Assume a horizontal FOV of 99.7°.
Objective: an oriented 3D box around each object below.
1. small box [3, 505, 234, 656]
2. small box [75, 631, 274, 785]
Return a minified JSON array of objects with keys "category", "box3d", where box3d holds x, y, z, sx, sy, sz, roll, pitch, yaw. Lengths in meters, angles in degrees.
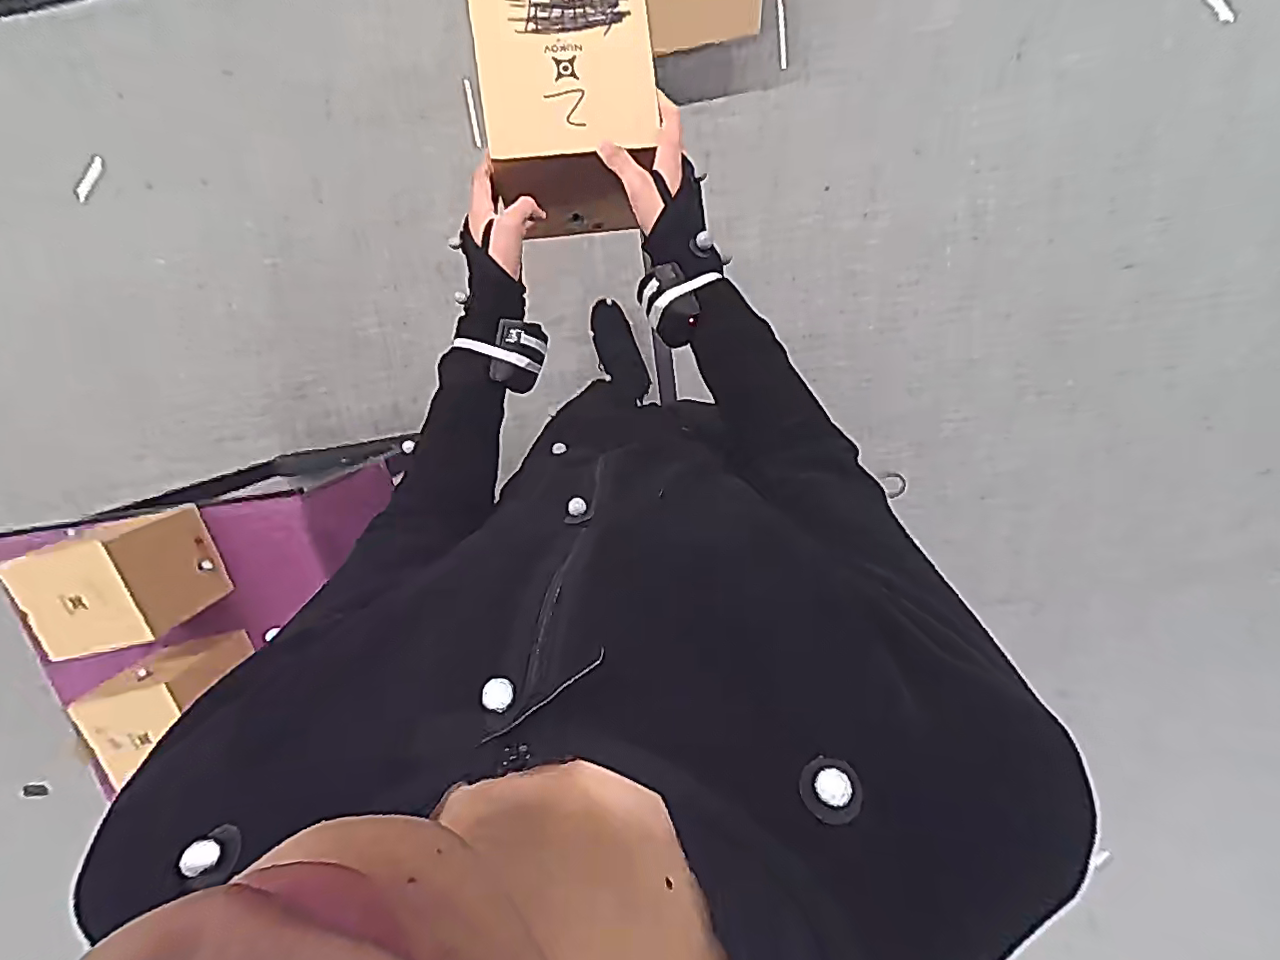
[{"category":"small box","box3d":[-0.819,0.155,0.872,0.179,0.176,0.168,-12,106,6]},{"category":"small box","box3d":[-0.779,0.383,0.933,0.179,0.176,0.168,-14,104,6]}]
